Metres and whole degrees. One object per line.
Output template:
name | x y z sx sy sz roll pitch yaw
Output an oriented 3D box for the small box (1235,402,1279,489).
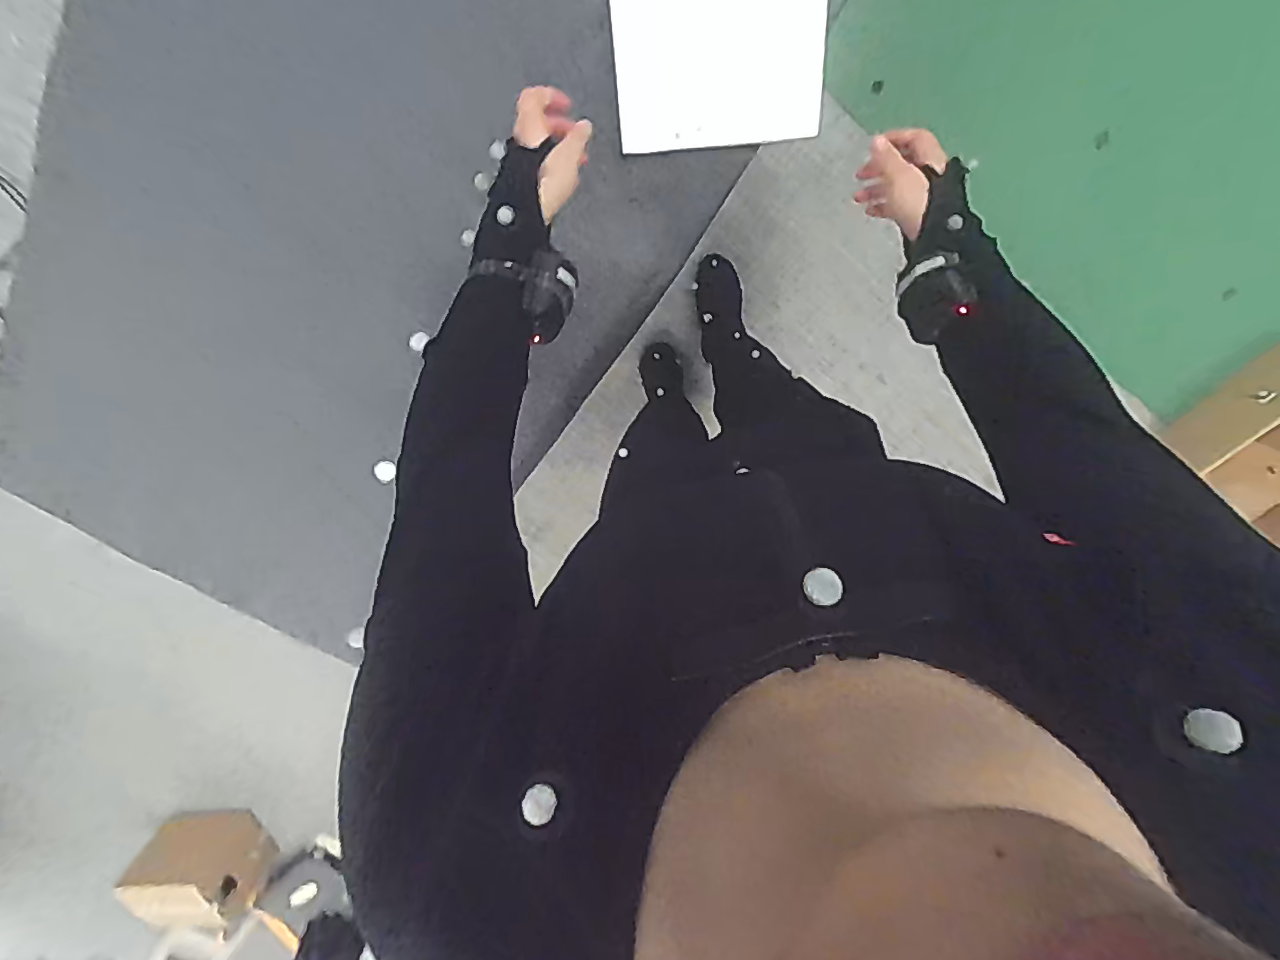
small box | 1.571 -0.079 1.264 0.168 0.176 0.179 -33 111 19
